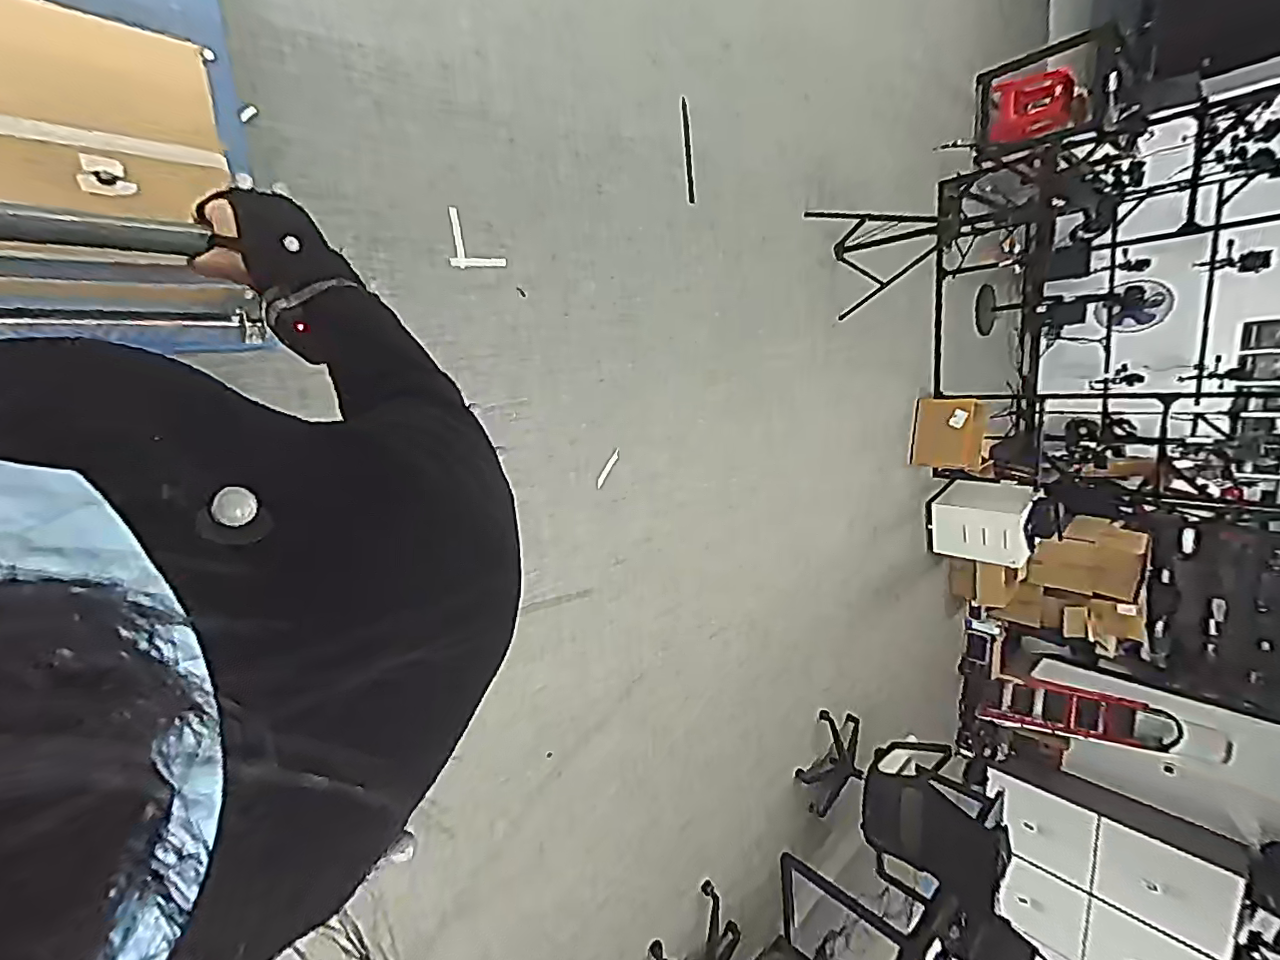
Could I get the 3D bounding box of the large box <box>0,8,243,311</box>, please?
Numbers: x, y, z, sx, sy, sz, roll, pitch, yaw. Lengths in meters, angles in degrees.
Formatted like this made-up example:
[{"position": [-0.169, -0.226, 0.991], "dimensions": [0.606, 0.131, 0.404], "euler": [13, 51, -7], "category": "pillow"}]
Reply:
[{"position": [-0.864, -0.427, 0.776], "dimensions": [0.408, 0.320, 0.320], "euler": [-13, 105, -42], "category": "large box"}]
